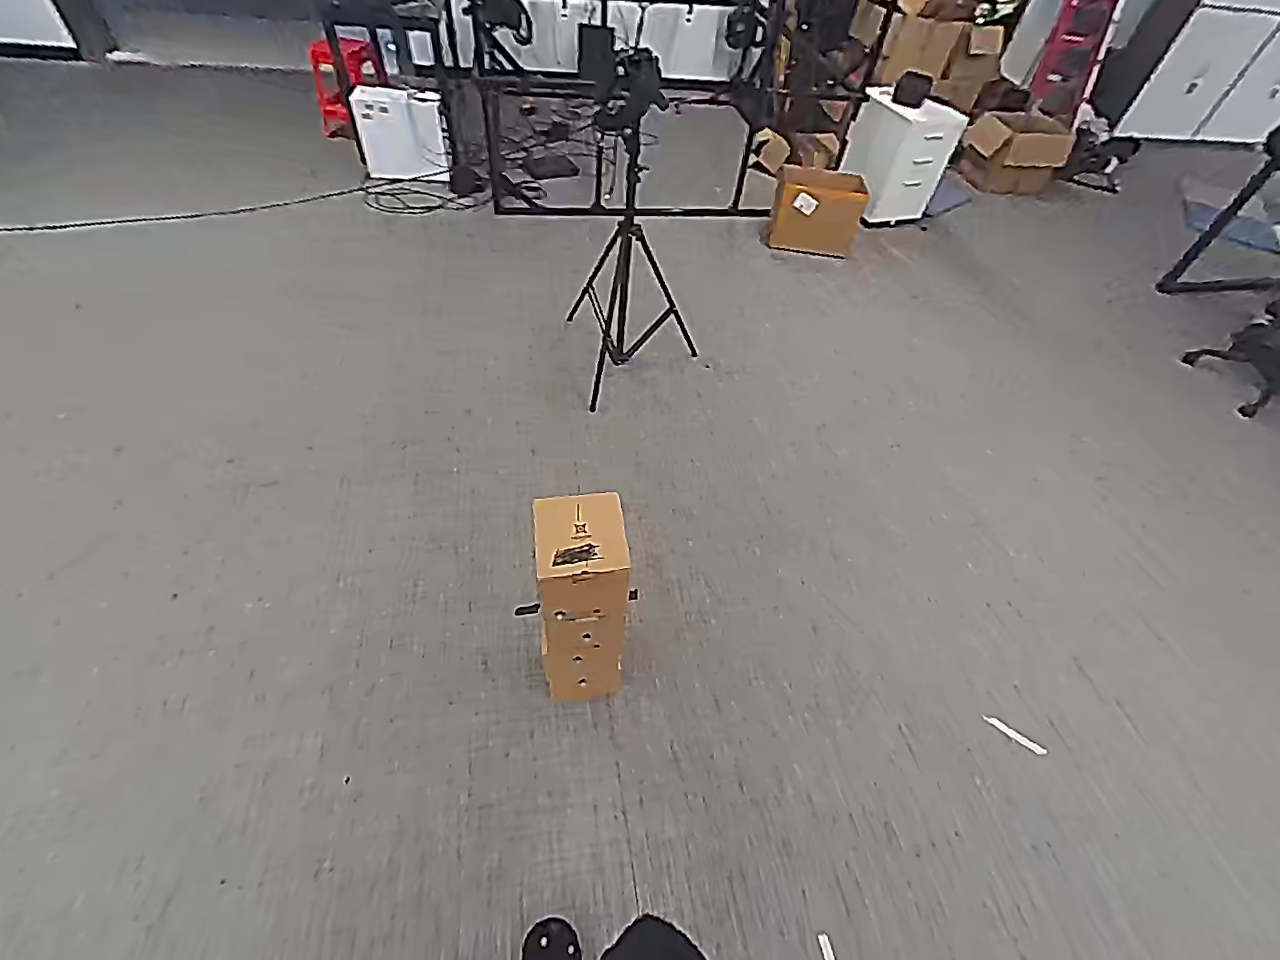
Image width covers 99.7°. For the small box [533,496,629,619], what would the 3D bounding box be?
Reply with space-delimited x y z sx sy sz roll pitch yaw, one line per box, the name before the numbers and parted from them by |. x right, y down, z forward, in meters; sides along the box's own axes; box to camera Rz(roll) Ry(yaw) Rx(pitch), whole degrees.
small box | -0.114 0.155 1.038 0.168 0.176 0.179 -4 51 -9

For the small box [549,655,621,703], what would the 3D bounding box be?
small box | -0.153 0.468 1.416 0.179 0.176 0.168 -5 52 -10

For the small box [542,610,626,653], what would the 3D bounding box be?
small box | -0.124 0.260 1.164 0.168 0.176 0.179 -4 52 -9

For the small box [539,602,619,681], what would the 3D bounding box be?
small box | -0.145 0.367 1.286 0.179 0.176 0.168 -3 52 -8
